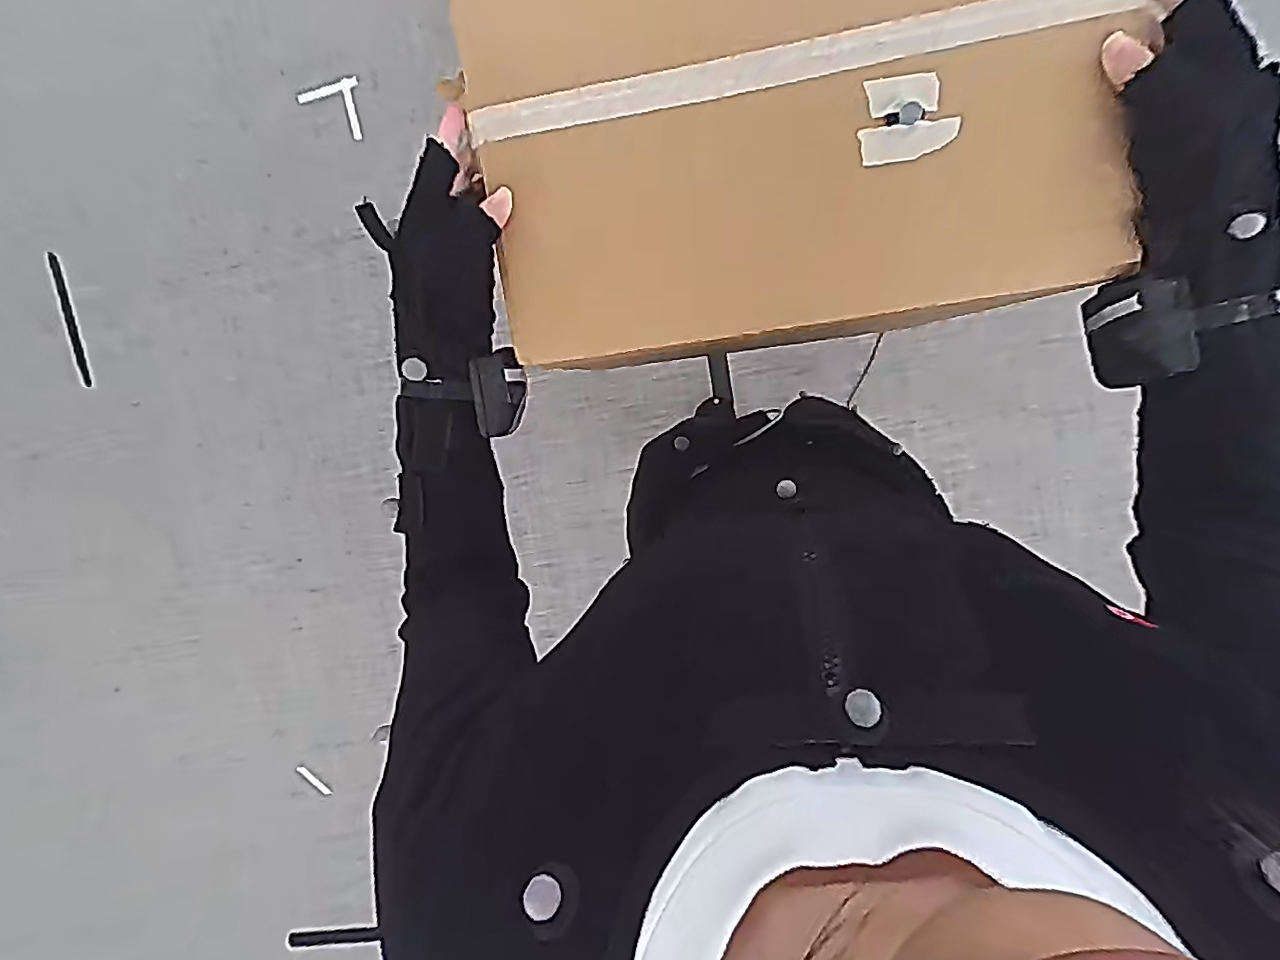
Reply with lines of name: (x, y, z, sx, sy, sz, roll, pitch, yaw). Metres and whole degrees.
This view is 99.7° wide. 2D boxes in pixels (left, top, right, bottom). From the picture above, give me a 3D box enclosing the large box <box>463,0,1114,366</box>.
large box: (0.101, -0.292, 0.494, 0.408, 0.320, 0.320, -8, 101, 5)
